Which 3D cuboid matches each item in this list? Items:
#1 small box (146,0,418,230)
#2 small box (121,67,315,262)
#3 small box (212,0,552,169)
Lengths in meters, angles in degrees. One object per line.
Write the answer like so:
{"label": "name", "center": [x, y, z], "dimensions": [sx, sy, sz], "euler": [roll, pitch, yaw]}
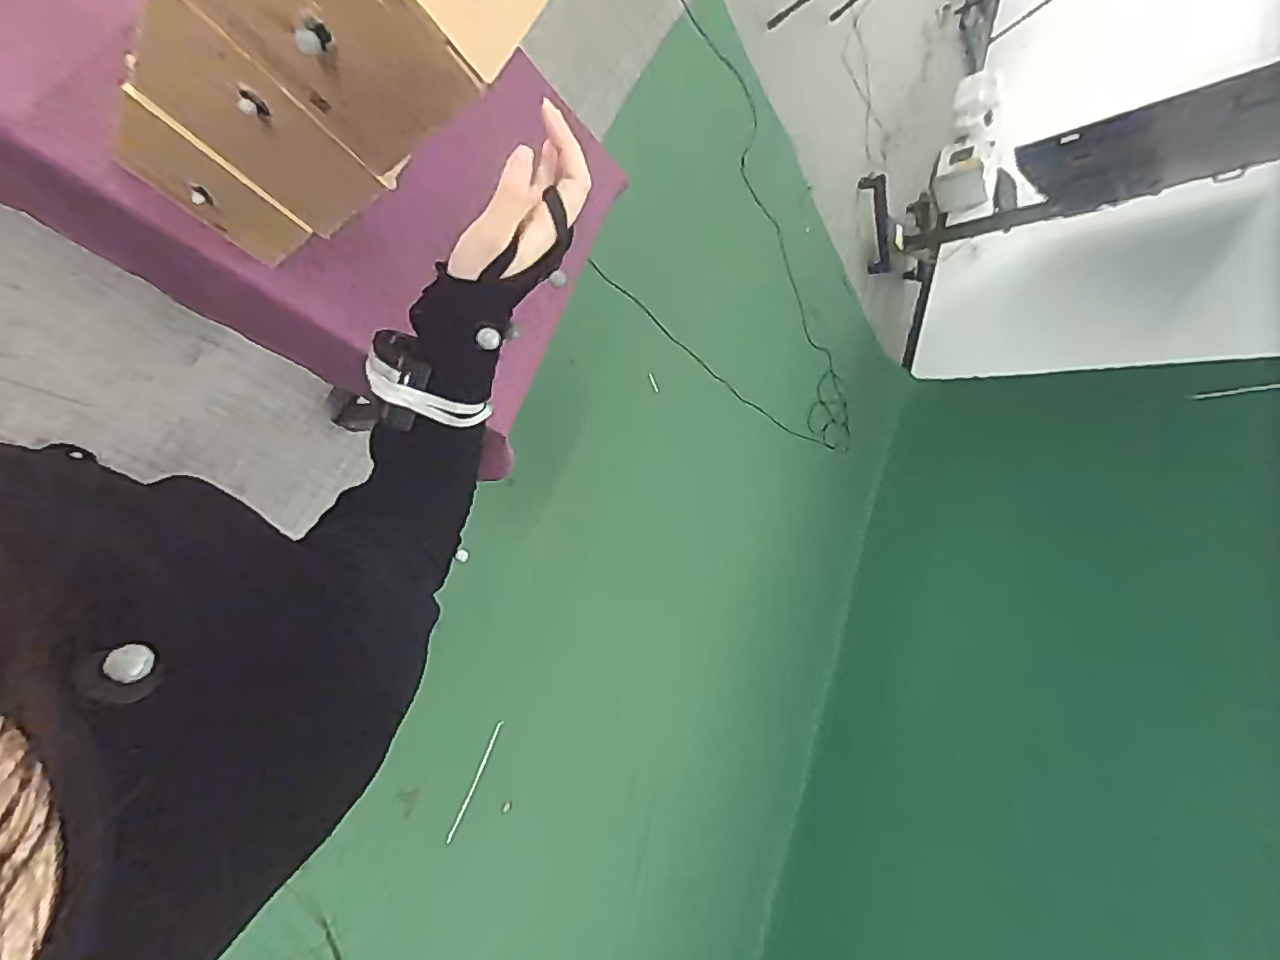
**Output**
{"label": "small box", "center": [-0.299, -0.365, 0.493], "dimensions": [0.179, 0.176, 0.168], "euler": [40, 65, -42]}
{"label": "small box", "center": [-0.424, -0.374, 0.599], "dimensions": [0.168, 0.176, 0.179], "euler": [39, 65, -42]}
{"label": "small box", "center": [-0.177, -0.365, 0.382], "dimensions": [0.168, 0.176, 0.179], "euler": [39, 66, -41]}
